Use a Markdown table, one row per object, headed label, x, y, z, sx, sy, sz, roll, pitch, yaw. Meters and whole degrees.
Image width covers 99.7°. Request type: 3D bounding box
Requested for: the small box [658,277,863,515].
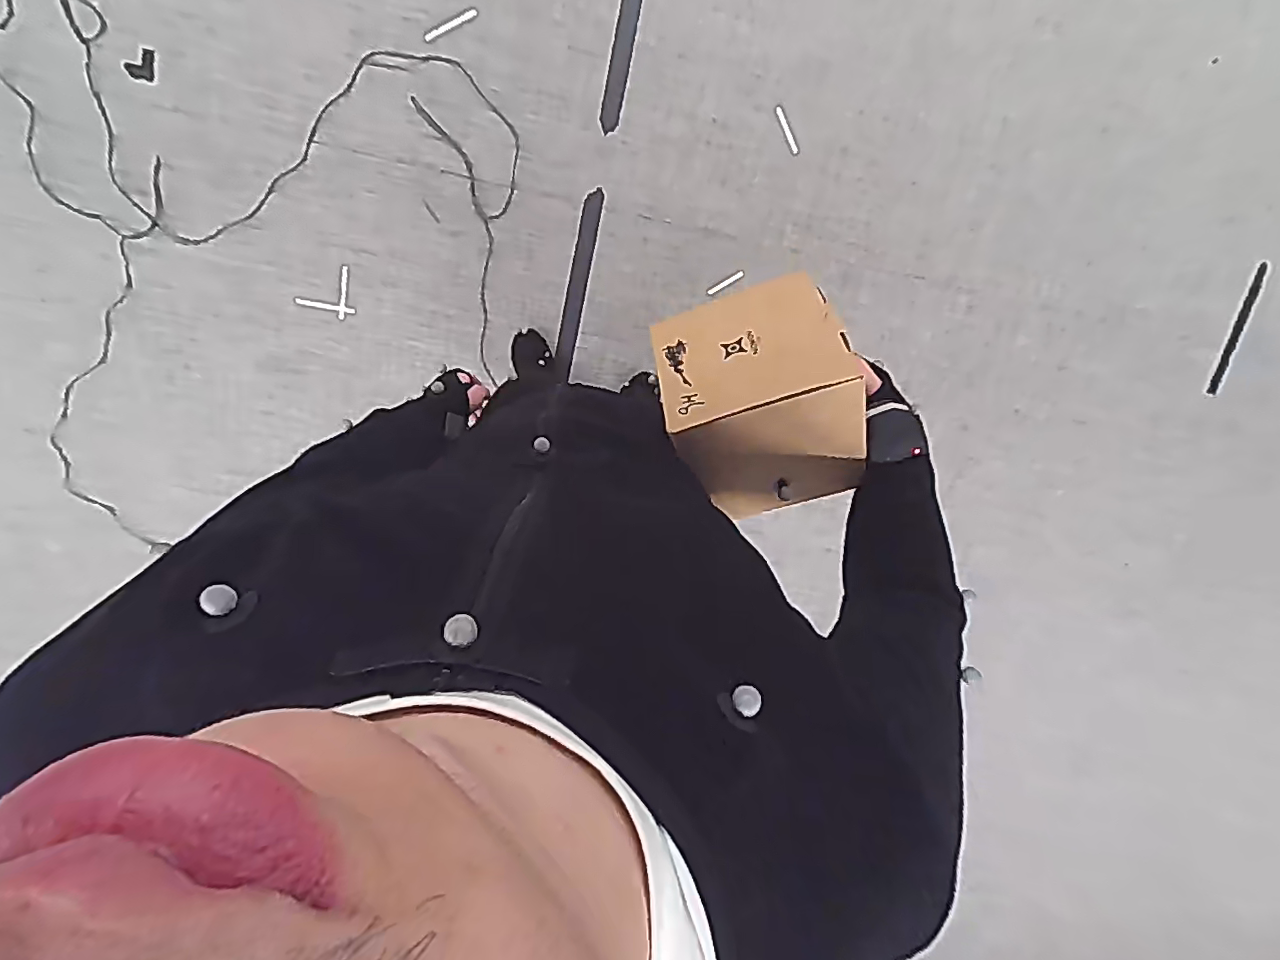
| label | x | y | z | sx | sy | sz | roll | pitch | yaw |
| --- | --- | --- | --- | --- | --- | --- | --- | --- | --- |
| small box | 0.132 | -0.085 | 0.599 | 0.179 | 0.168 | 0.176 | -15 | 140 | 11 |
